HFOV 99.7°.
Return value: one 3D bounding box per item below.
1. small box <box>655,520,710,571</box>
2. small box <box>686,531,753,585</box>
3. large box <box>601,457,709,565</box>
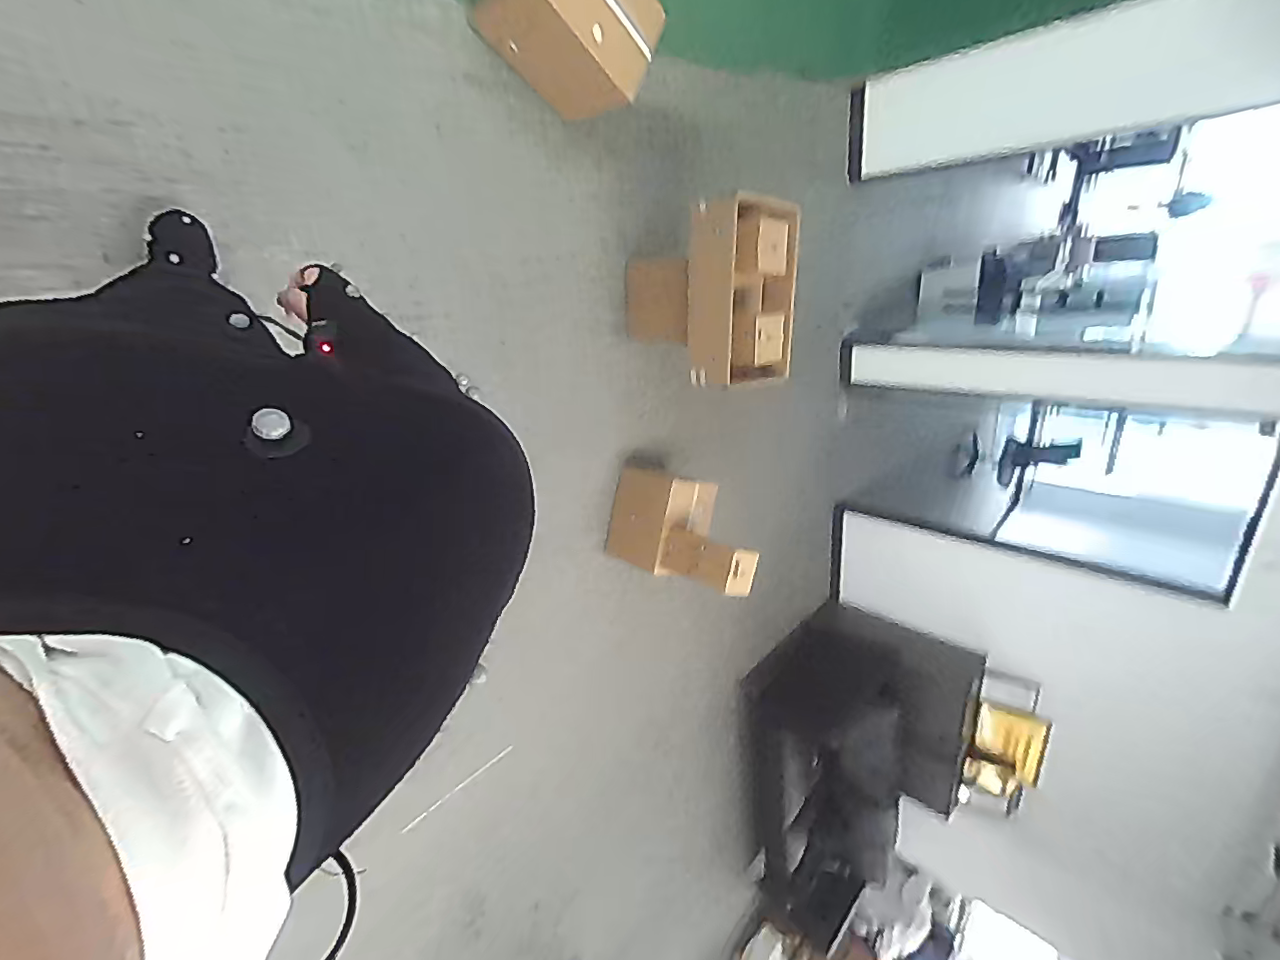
[{"bbox_3d":[0.191,0.267,2.199,0.179,0.176,0.168,14,92,-46],"label":"small box"},{"bbox_3d":[0.303,0.298,2.083,0.179,0.176,0.168,14,91,-48],"label":"small box"},{"bbox_3d":[0.062,0.130,2.382,0.320,0.320,0.408,4,99,-48],"label":"large box"}]
